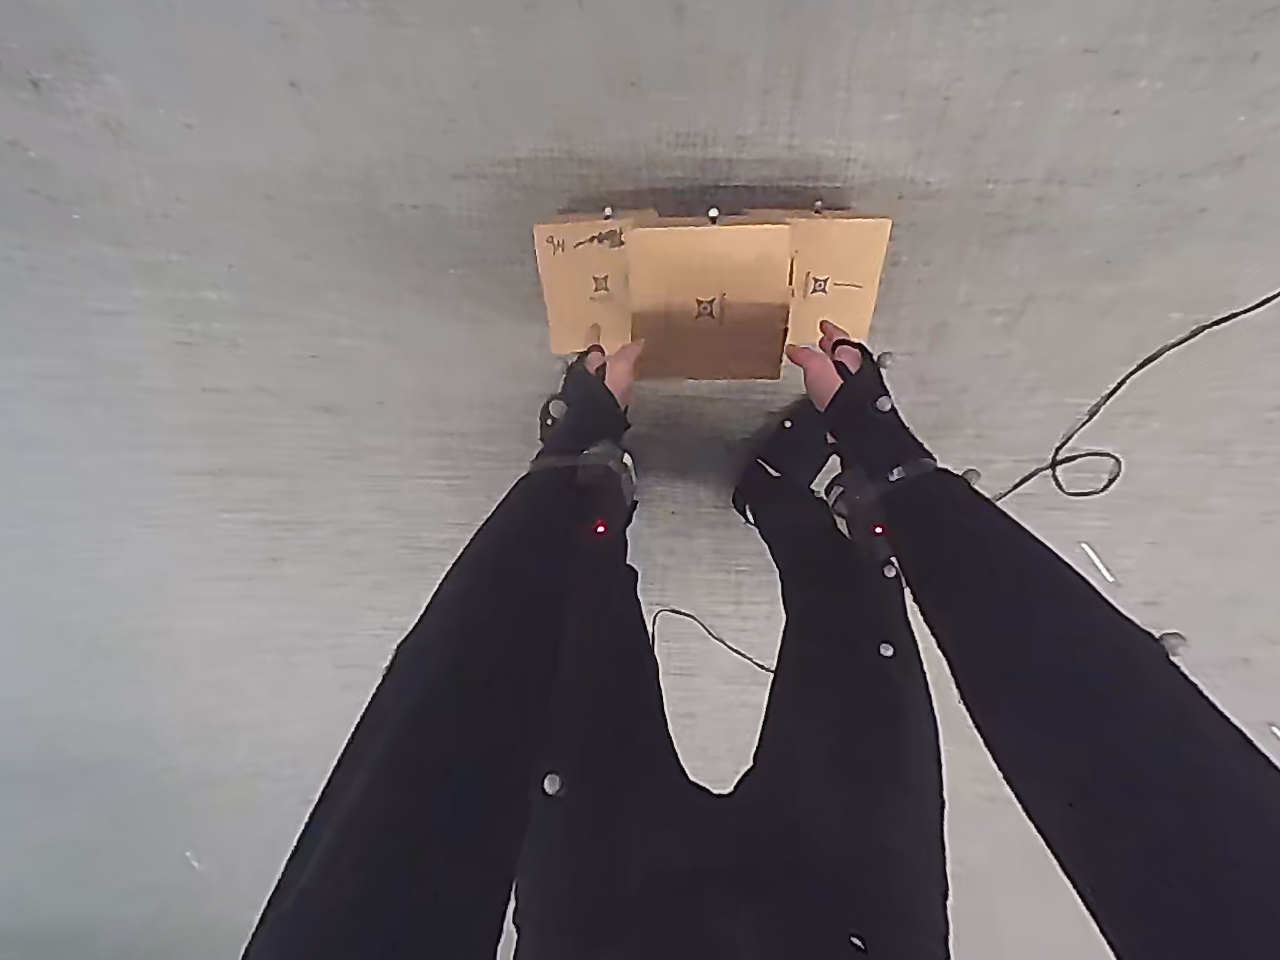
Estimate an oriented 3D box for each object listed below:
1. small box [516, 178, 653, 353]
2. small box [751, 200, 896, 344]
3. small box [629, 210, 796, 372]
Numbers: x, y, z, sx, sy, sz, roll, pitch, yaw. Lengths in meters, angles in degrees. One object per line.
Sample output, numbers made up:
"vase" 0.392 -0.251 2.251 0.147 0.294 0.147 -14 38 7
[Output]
"small box" -0.048 -0.320 0.805 0.179 0.176 0.168 -28 113 20
"small box" 0.240 -0.312 0.798 0.179 0.176 0.168 5 122 1
"small box" 0.080 -0.237 0.666 0.179 0.176 0.168 1 118 5
